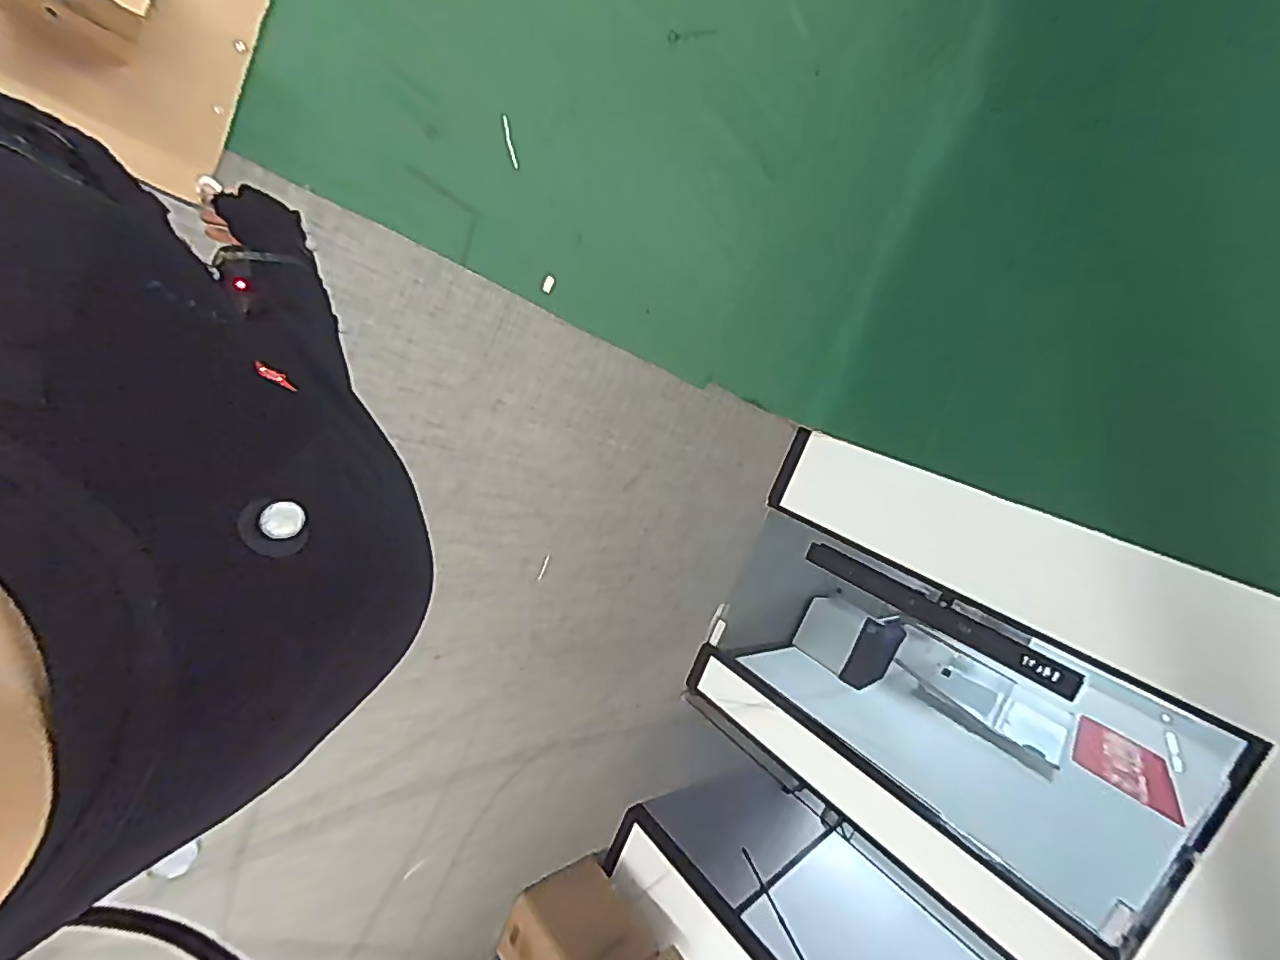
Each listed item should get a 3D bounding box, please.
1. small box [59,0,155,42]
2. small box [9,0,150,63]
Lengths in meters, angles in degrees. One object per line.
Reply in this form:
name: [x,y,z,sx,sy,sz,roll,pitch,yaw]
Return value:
small box: [-0.733,-0.730,0.707,0.168,0.176,0.179,17,99,-48]
small box: [-0.849,-0.780,0.816,0.168,0.176,0.179,14,102,-48]
